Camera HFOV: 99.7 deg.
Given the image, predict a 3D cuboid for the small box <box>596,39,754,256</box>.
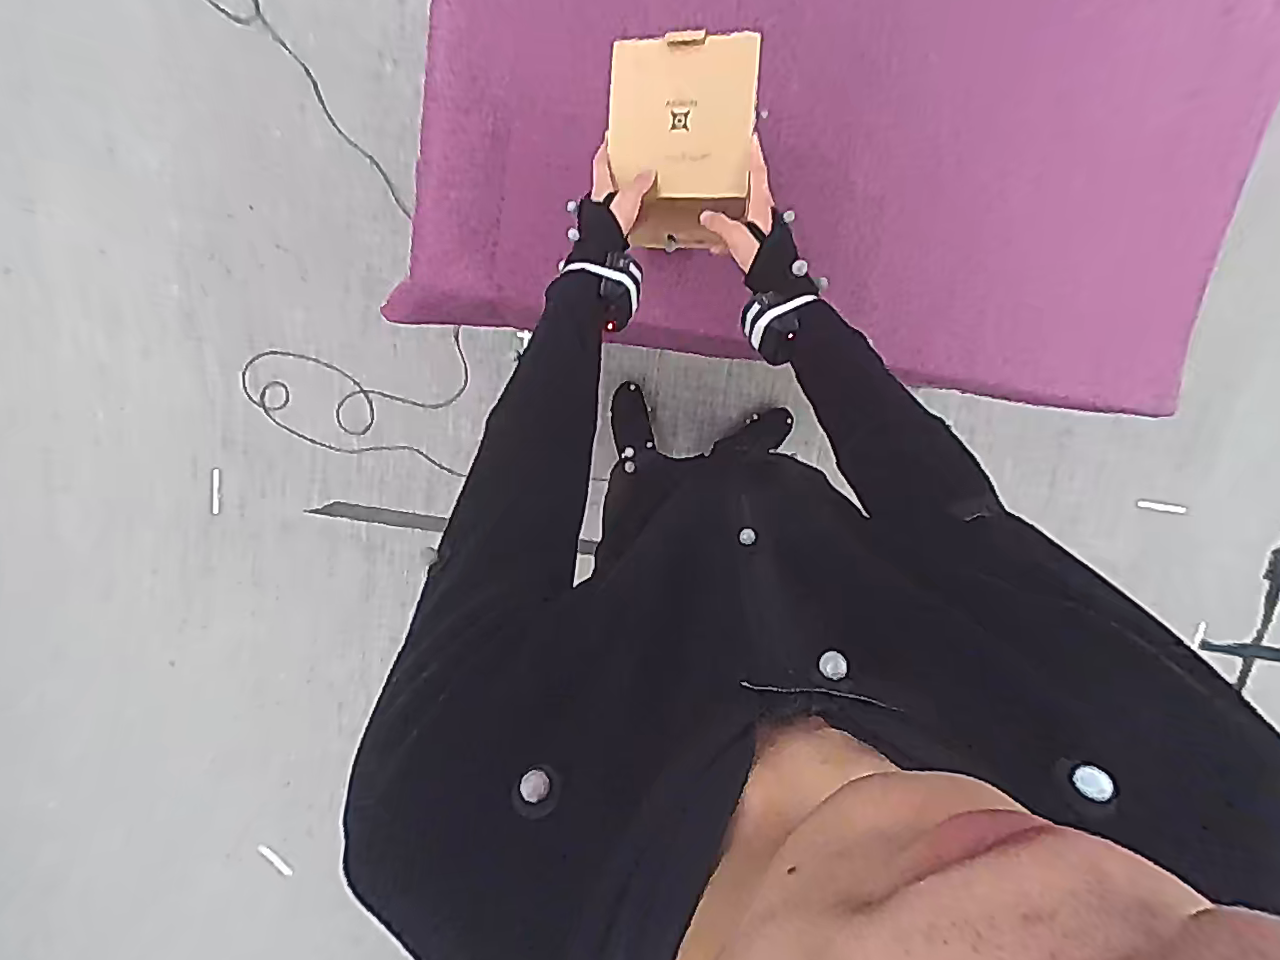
[{"bbox_3d":[0.048,-0.401,0.679,0.168,0.176,0.179,5,94,9],"label":"small box"}]
